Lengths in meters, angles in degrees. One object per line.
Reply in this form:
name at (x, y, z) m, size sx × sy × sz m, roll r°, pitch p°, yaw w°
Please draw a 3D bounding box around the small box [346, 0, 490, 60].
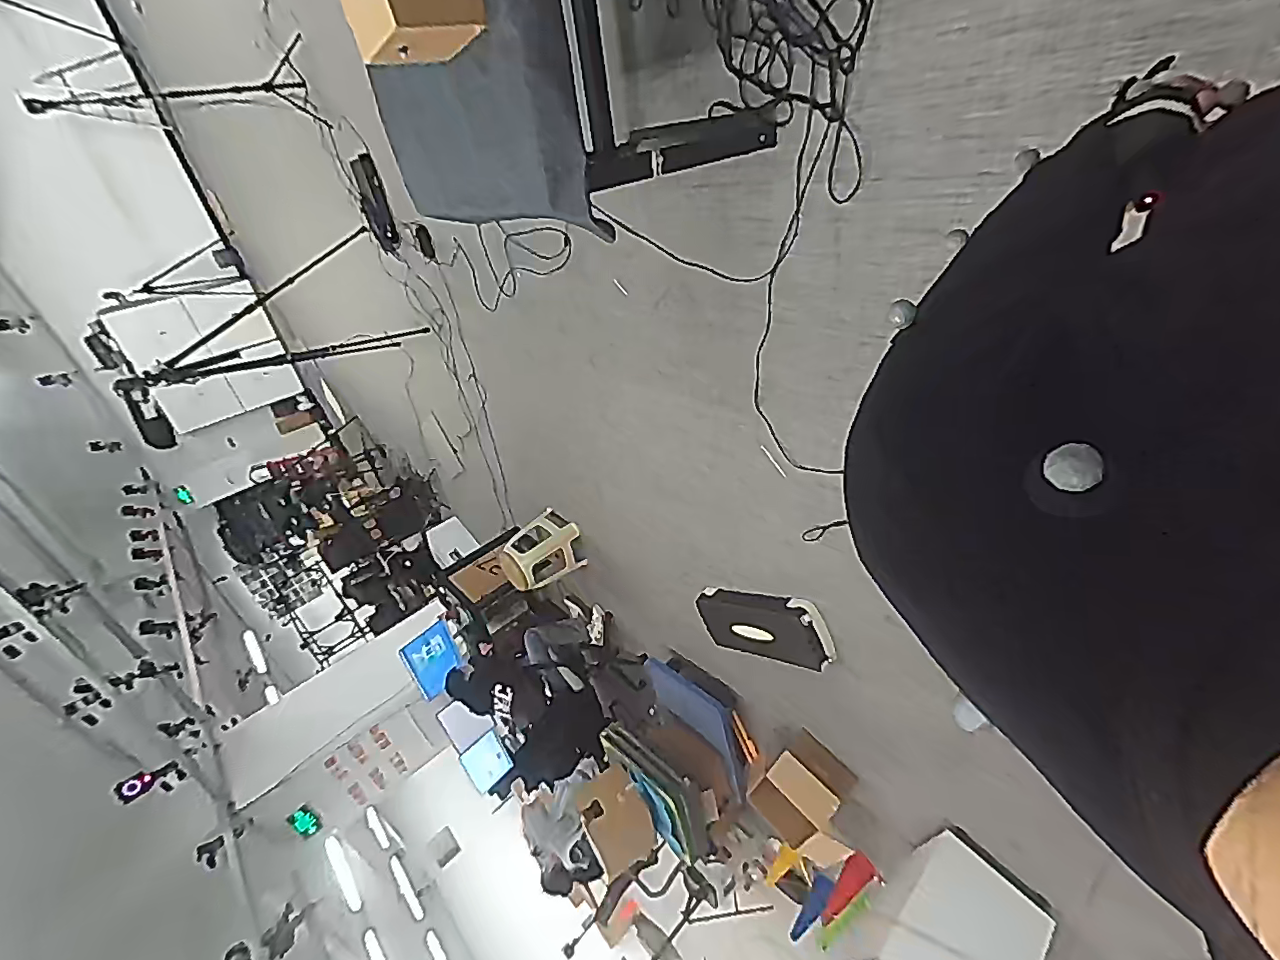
small box at (-0.372, -0.809, 0.875) m, size 0.179 × 0.176 × 0.168 m, roll 18°, pitch 132°, yaw 46°
